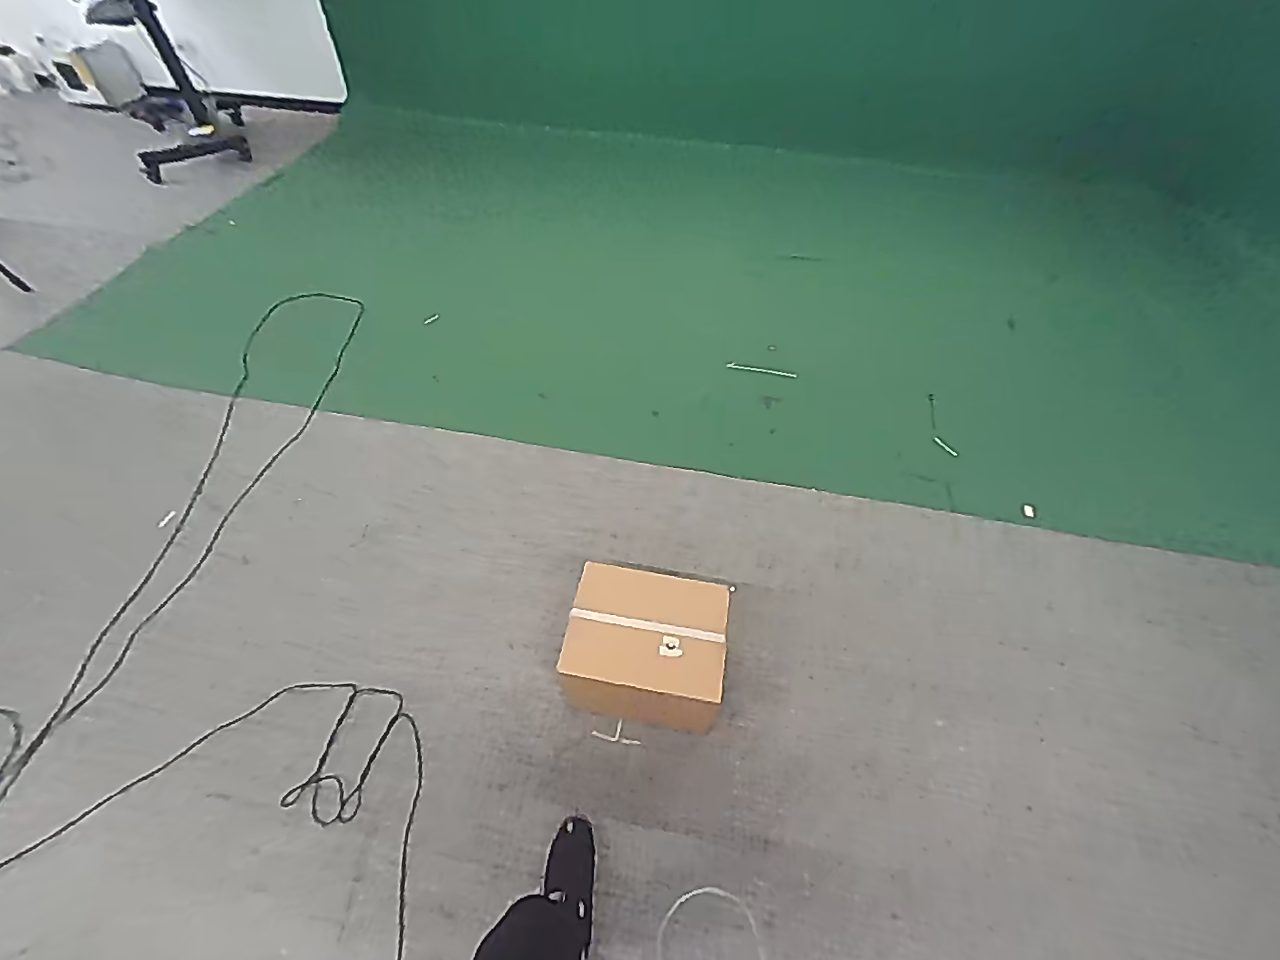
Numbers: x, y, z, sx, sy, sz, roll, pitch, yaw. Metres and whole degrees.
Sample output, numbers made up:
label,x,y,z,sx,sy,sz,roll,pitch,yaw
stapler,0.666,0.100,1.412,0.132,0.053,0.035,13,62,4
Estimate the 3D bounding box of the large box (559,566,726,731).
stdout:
label,x,y,z,sx,sy,sz,roll,pitch,yaw
large box,0.010,0.474,1.512,0.408,0.320,0.320,8,51,4
